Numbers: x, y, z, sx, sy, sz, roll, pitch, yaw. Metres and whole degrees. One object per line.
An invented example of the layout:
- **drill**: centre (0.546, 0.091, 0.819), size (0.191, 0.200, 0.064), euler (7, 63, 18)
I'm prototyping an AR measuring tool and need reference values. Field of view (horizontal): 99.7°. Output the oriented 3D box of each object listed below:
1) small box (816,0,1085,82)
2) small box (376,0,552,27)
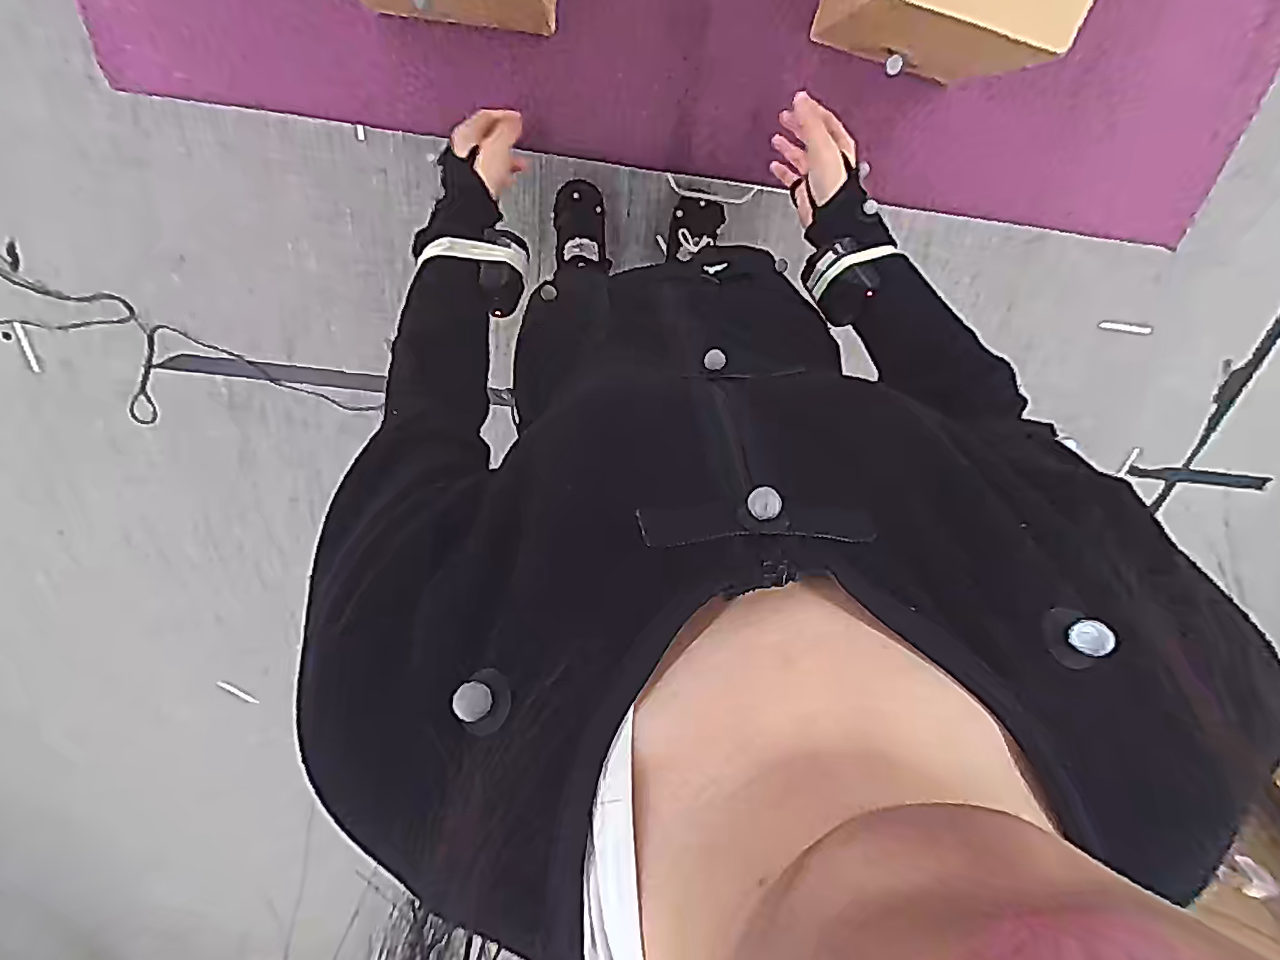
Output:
- **small box**: centre (0.272, -0.467, 0.451), size (0.168, 0.176, 0.179), euler (11, 119, -9)
- **small box**: centre (-0.156, -0.480, 0.418), size (0.179, 0.176, 0.168), euler (4, 119, -5)
